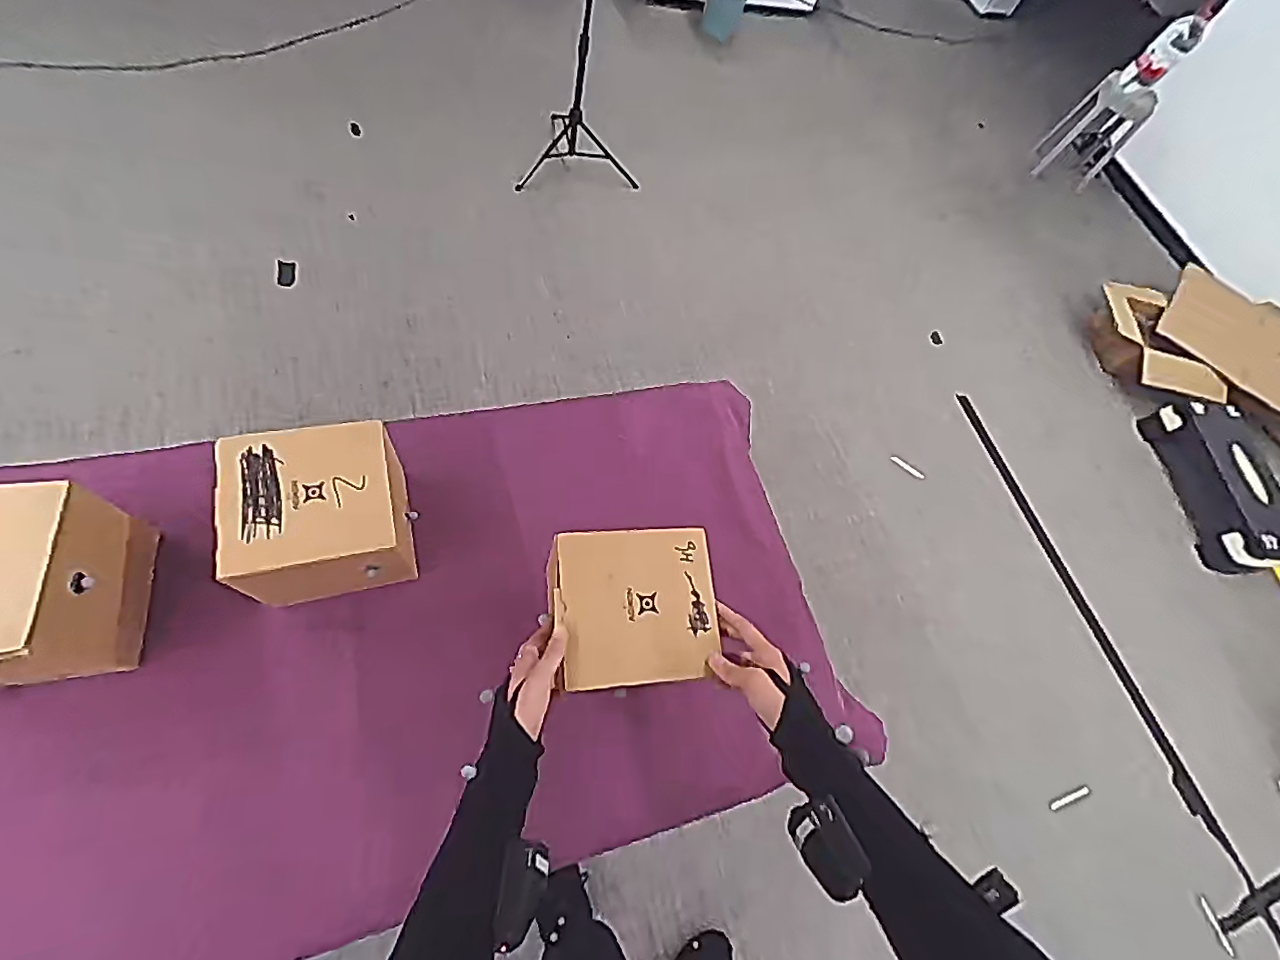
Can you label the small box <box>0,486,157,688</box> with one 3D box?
[{"bbox_3d":[-0.664,0.122,0.574,0.168,0.176,0.179,-4,67,-16],"label":"small box"}]
